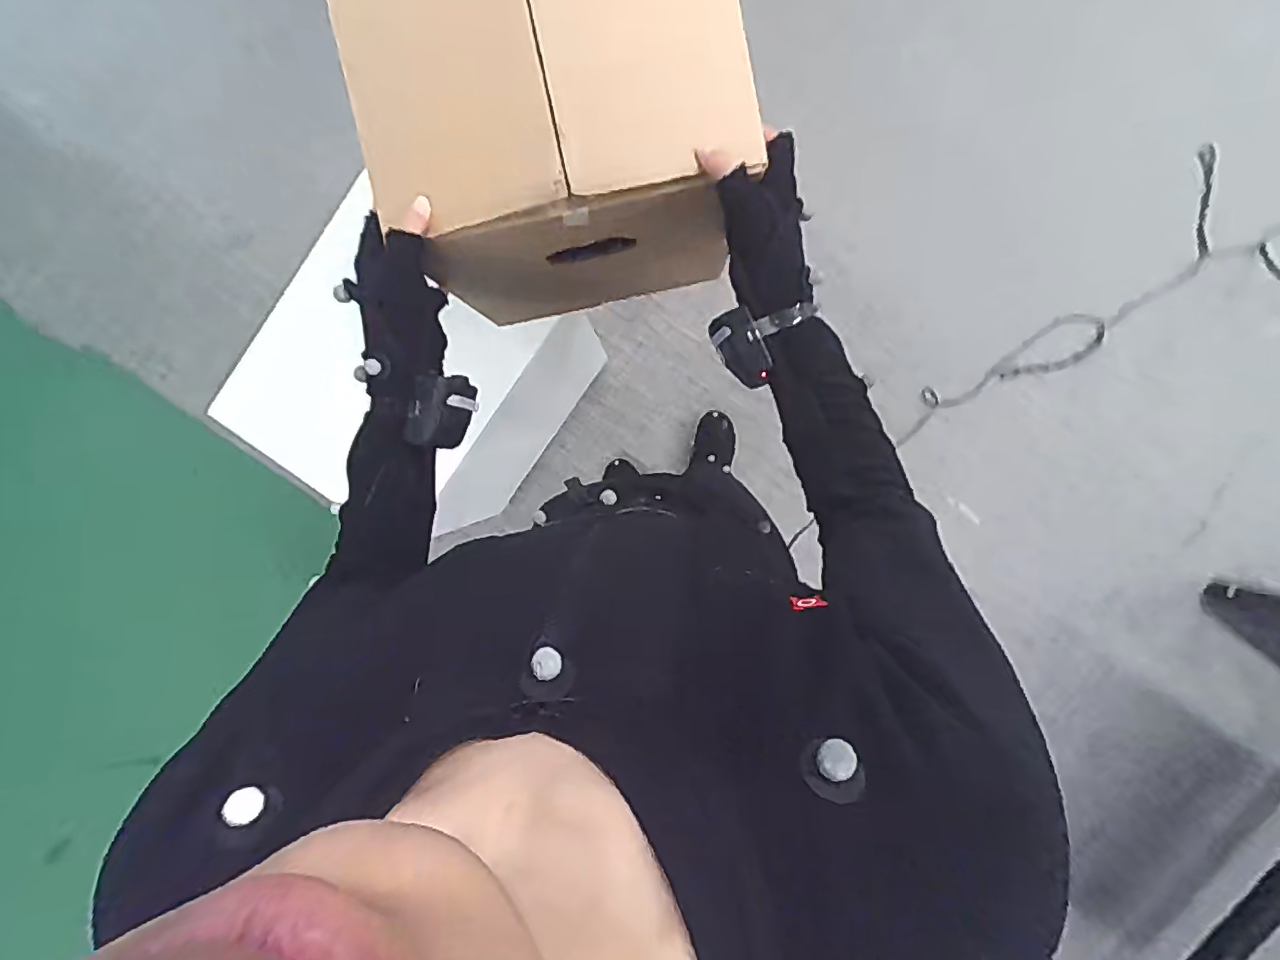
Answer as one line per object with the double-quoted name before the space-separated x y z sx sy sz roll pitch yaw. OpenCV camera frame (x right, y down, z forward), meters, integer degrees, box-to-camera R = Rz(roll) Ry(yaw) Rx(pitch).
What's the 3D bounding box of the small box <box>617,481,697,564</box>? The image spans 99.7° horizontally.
"small box" 0.041 0.105 1.426 0.168 0.176 0.179 -10 95 -10
